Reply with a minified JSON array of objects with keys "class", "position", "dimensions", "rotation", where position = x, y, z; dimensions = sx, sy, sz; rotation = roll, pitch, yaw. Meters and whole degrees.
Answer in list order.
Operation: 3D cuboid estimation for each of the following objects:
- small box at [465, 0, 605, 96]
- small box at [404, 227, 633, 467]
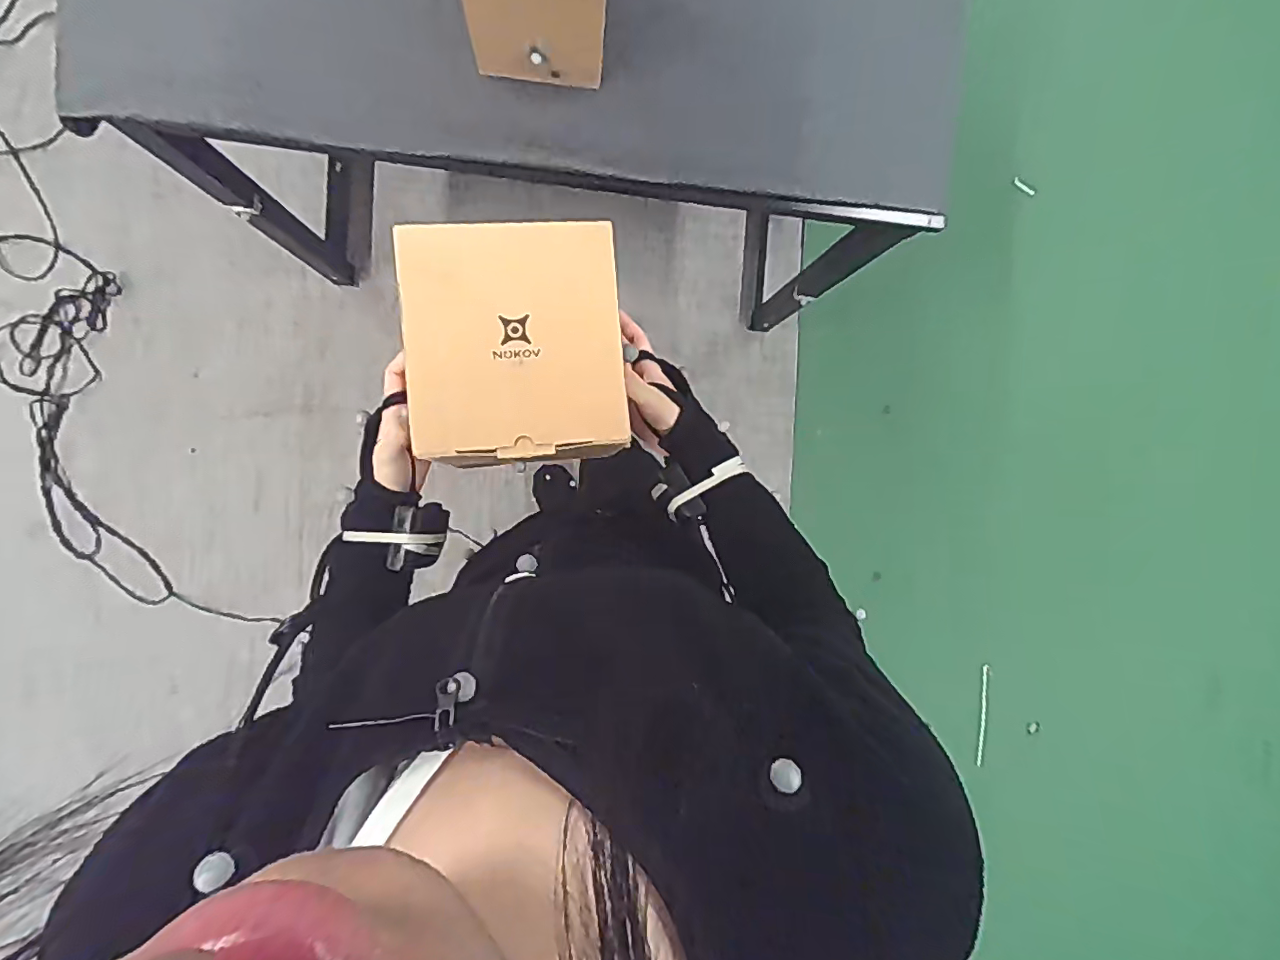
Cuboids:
[{"class":"small box","position":[-0.126,-0.627,0.667],"dimensions":[0.168,0.176,0.179],"rotation":[2,91,-7]},{"class":"small box","position":[-0.106,-0.108,0.499],"dimensions":[0.168,0.176,0.179],"rotation":[-5,90,-9]}]
